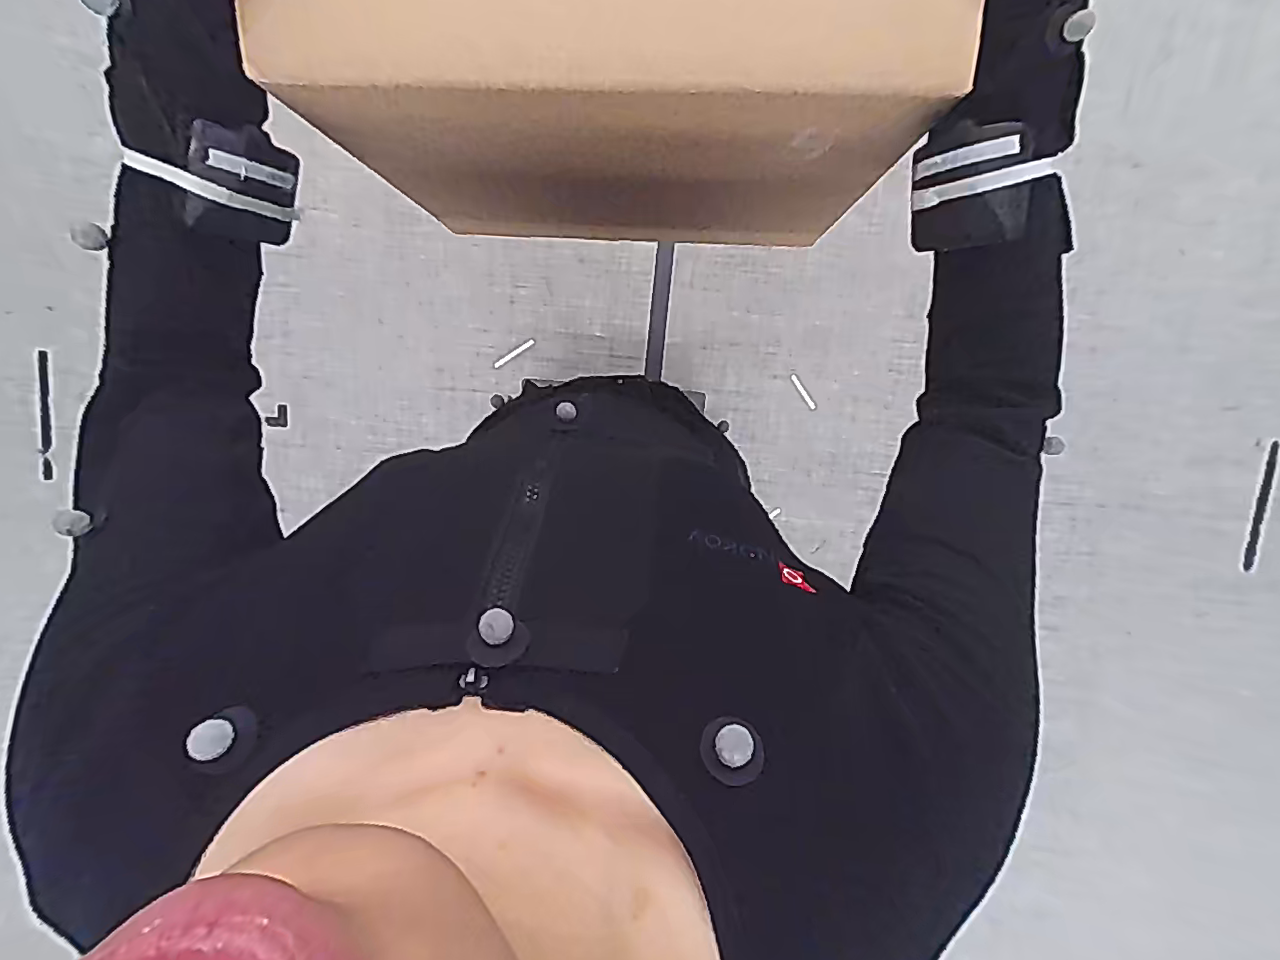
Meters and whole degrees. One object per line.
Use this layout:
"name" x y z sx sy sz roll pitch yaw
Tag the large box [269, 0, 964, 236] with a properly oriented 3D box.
"large box" -0.010 -0.403 0.439 0.408 0.320 0.320 2 100 1
